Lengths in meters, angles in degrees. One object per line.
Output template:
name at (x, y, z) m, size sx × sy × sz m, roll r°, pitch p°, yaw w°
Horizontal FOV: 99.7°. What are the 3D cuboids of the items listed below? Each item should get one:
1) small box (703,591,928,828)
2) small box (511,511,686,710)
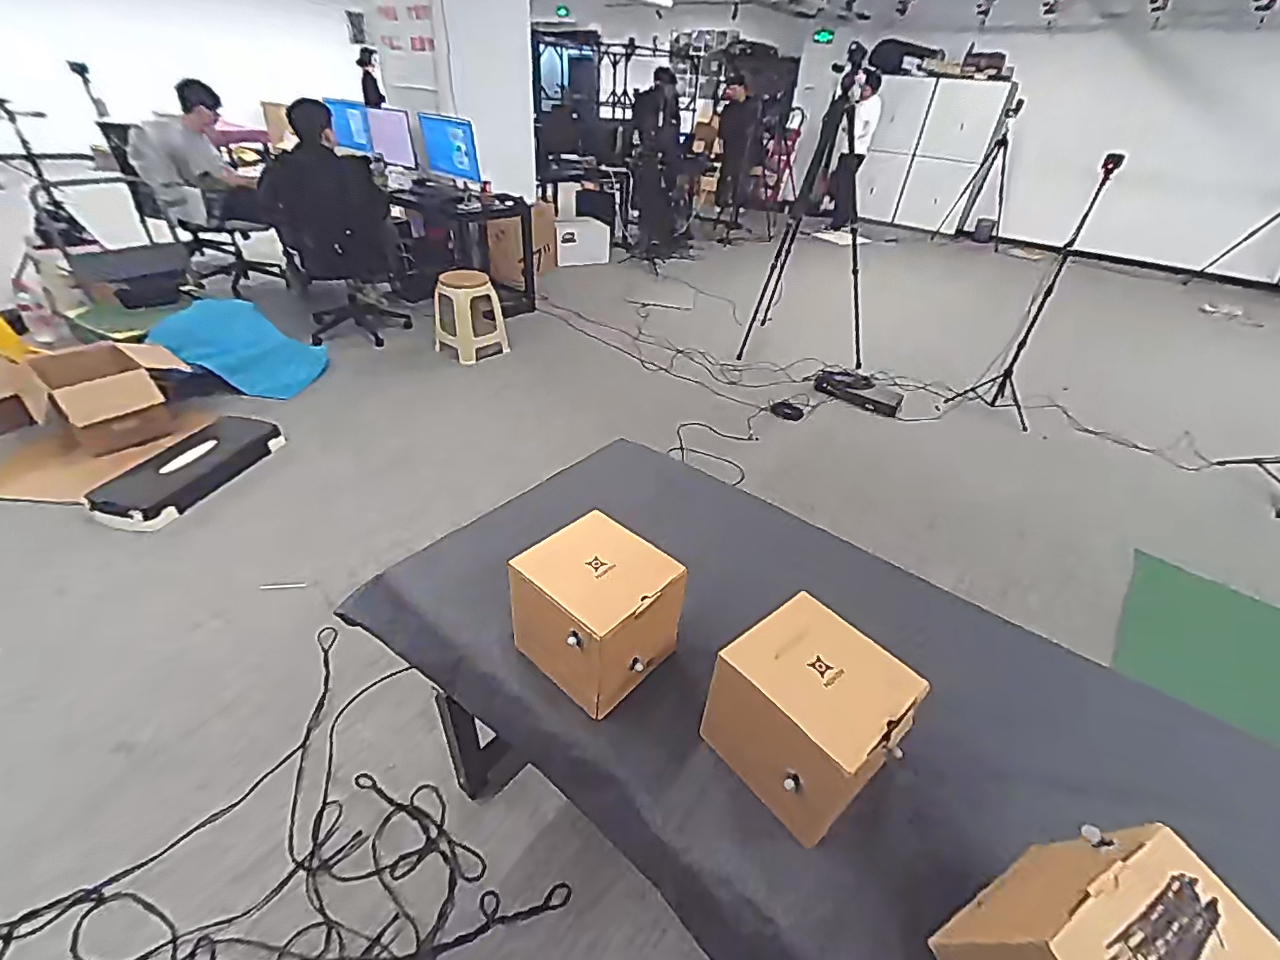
small box at (0.198, 0.274, 0.648) m, size 0.168 × 0.176 × 0.179 m, roll -23°, pitch 42°, yaw -35°
small box at (-0.061, 0.178, 0.756) m, size 0.179 × 0.176 × 0.168 m, roll 29°, pitch 41°, yaw 30°
